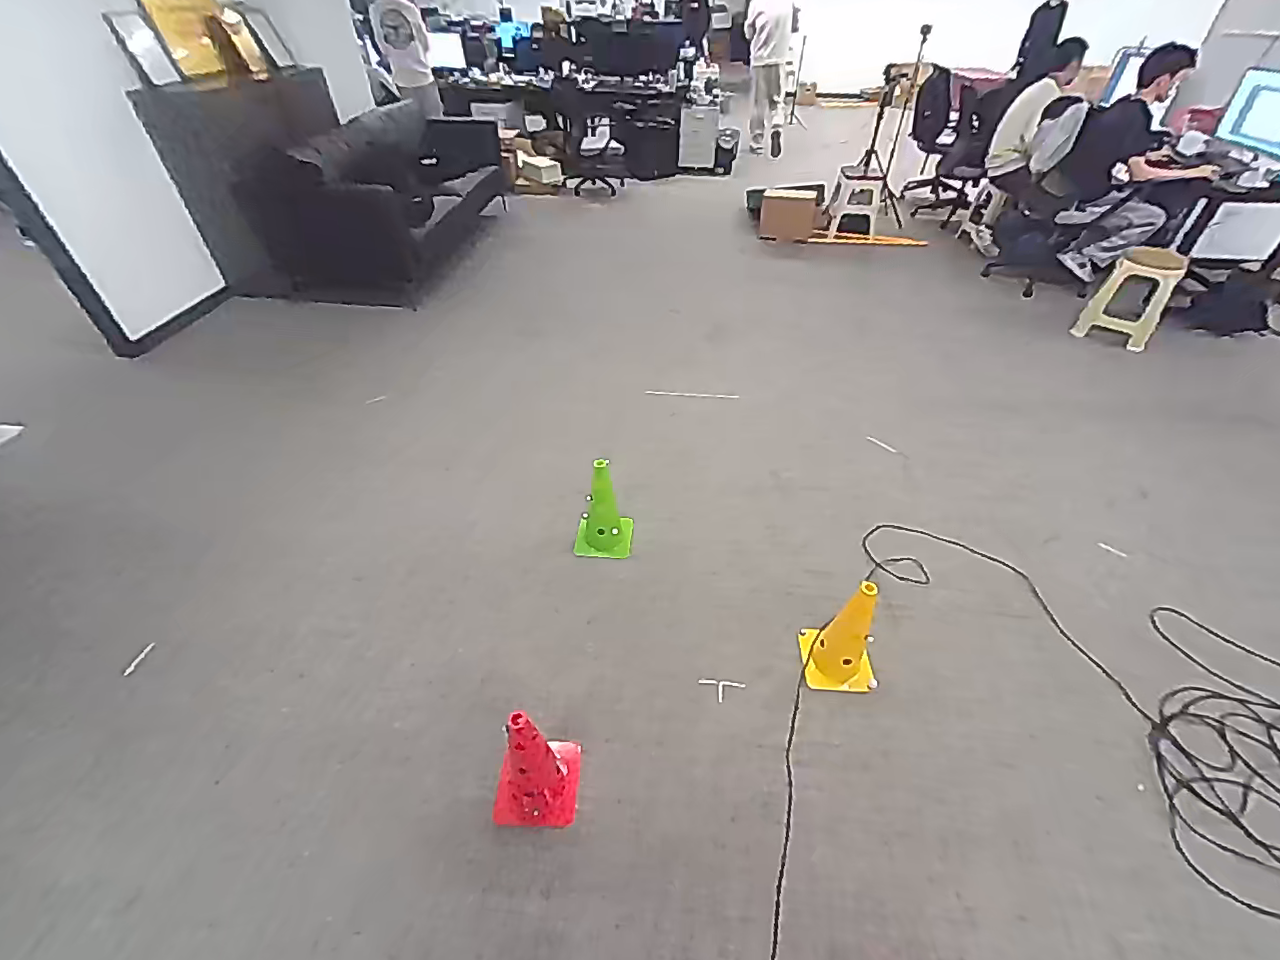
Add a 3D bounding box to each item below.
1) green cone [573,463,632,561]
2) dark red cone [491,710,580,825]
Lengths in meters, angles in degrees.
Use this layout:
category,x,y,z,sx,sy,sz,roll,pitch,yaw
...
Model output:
category,x,y,z,sx,sy,sz,roll,pitch,yaw
green cone,-0.131,0.091,1.880,0.202,0.368,0.200,4,42,3
dark red cone,-0.254,0.629,1.238,0.202,0.394,0.201,0,43,0
